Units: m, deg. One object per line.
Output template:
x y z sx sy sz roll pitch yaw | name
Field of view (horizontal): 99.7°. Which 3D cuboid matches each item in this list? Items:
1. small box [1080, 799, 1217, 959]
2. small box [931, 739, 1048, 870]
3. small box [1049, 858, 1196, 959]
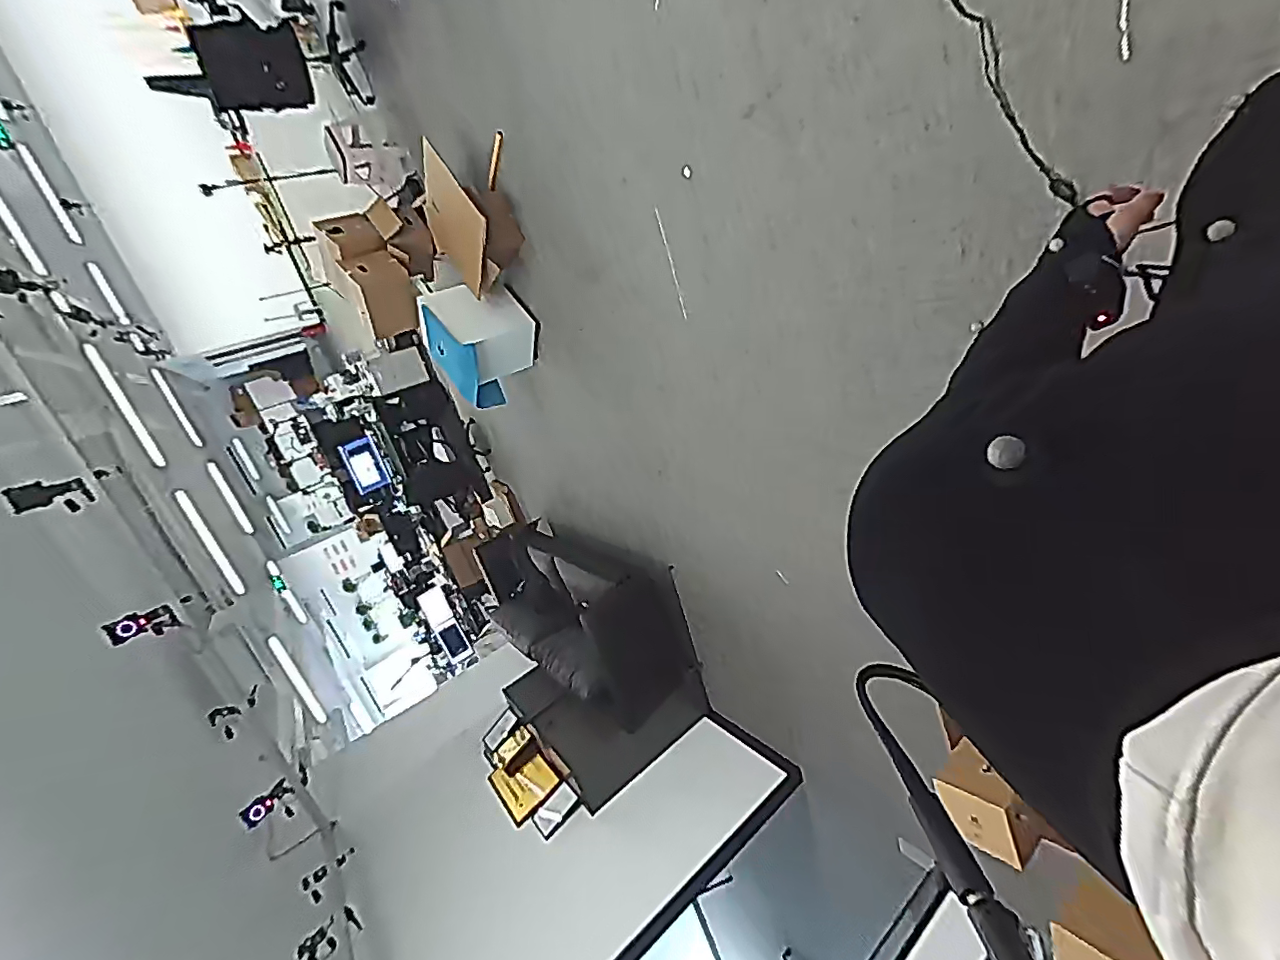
1.002 0.782 1.067 0.168 0.176 0.179 7 122 56 | small box
0.842 0.767 1.302 0.168 0.176 0.179 -3 112 59 | small box
0.880 0.855 0.986 0.168 0.176 0.179 8 122 54 | small box
